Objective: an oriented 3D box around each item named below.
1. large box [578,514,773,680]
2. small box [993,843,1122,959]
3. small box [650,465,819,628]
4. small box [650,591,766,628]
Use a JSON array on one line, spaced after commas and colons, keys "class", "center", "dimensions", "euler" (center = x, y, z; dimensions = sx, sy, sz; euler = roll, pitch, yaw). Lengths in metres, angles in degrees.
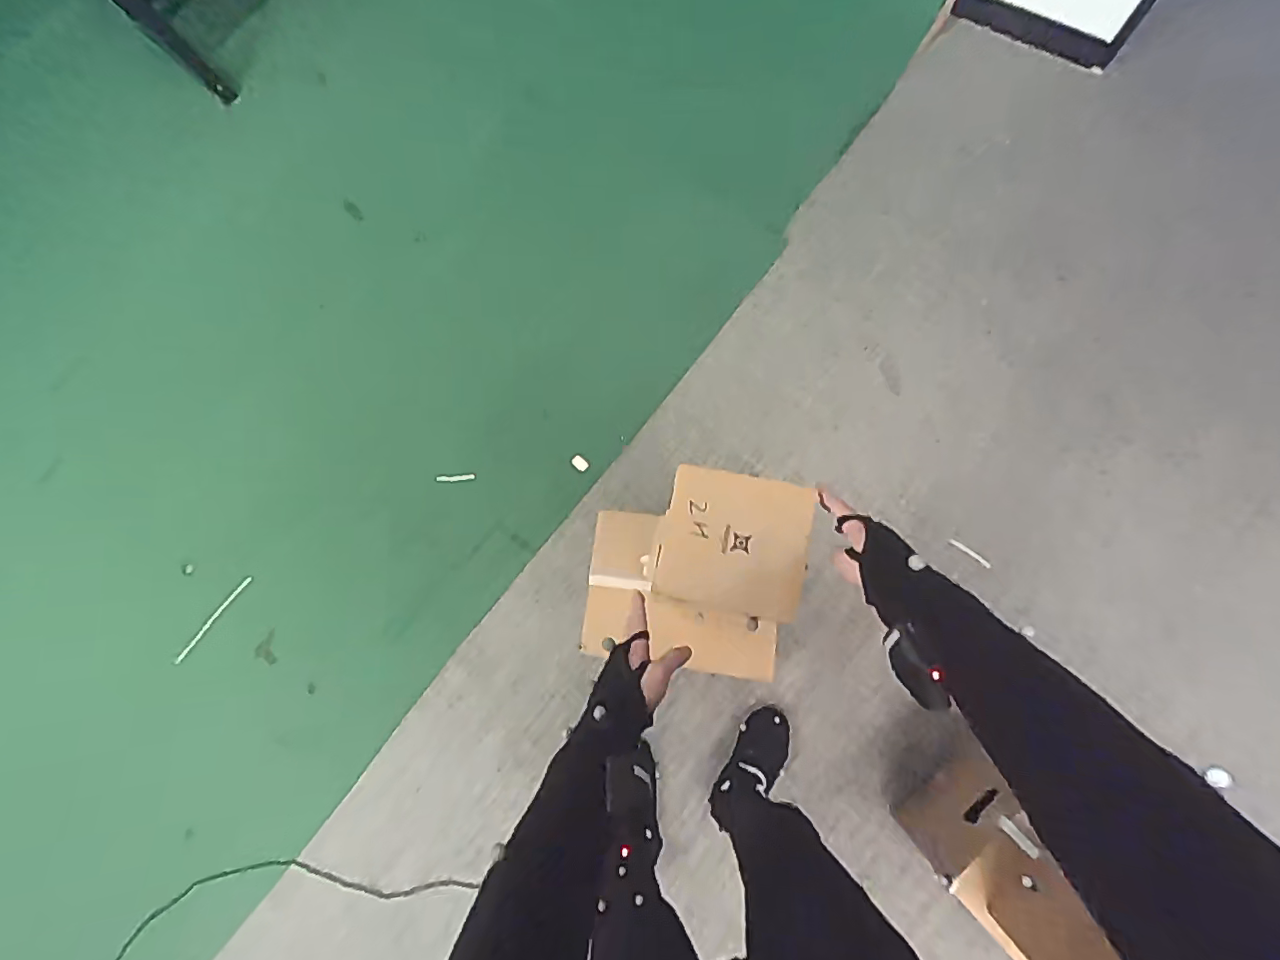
[{"class": "large box", "center": [0.103, 0.270, 1.282], "dimensions": [0.408, 0.320, 0.320], "euler": [5, 77, 10]}, {"class": "small box", "center": [0.701, 0.730, 0.849], "dimensions": [0.179, 0.176, 0.168], "euler": [-45, 76, -3]}, {"class": "small box", "center": [0.123, 0.093, 0.726], "dimensions": [0.179, 0.176, 0.168], "euler": [12, 78, 10]}, {"class": "small box", "center": [0.126, 0.139, 0.886], "dimensions": [0.179, 0.176, 0.168], "euler": [12, 79, 9]}]
